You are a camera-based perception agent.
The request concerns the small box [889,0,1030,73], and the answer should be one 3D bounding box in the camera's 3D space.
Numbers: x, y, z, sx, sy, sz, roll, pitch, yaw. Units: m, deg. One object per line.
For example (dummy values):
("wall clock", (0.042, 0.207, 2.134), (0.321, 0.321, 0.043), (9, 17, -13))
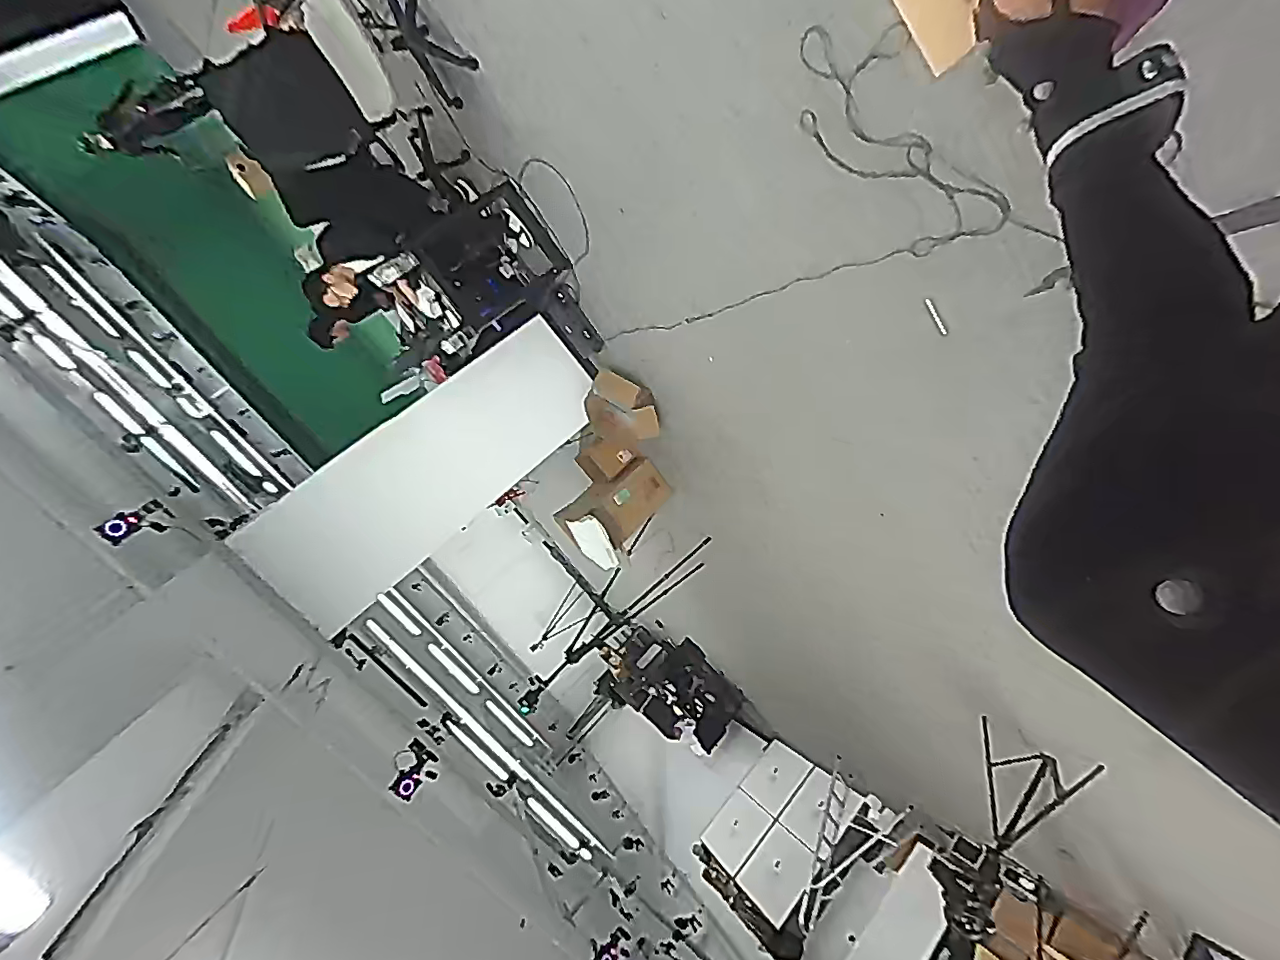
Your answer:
("small box", (0.356, -0.558, 0.520), (0.168, 0.176, 0.179), (51, 160, -11))
